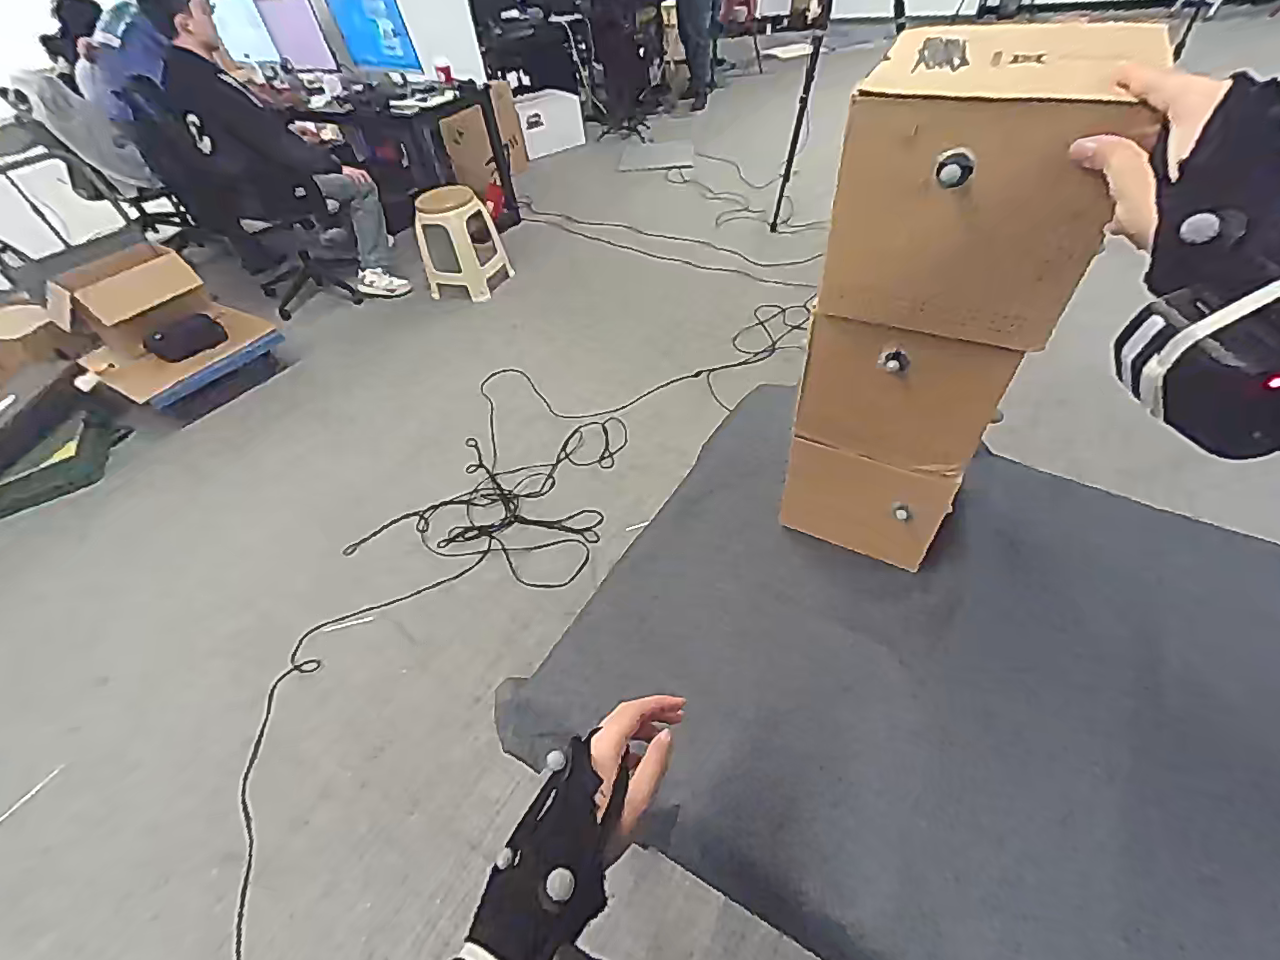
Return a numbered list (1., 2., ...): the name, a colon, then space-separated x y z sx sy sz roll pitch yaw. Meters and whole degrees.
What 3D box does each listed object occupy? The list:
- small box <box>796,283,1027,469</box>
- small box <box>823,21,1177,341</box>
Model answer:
1. small box: 0.276 -0.136 0.560 0.179 0.176 0.168 21 56 22
2. small box: 0.259 -0.233 0.426 0.179 0.176 0.168 19 55 21
